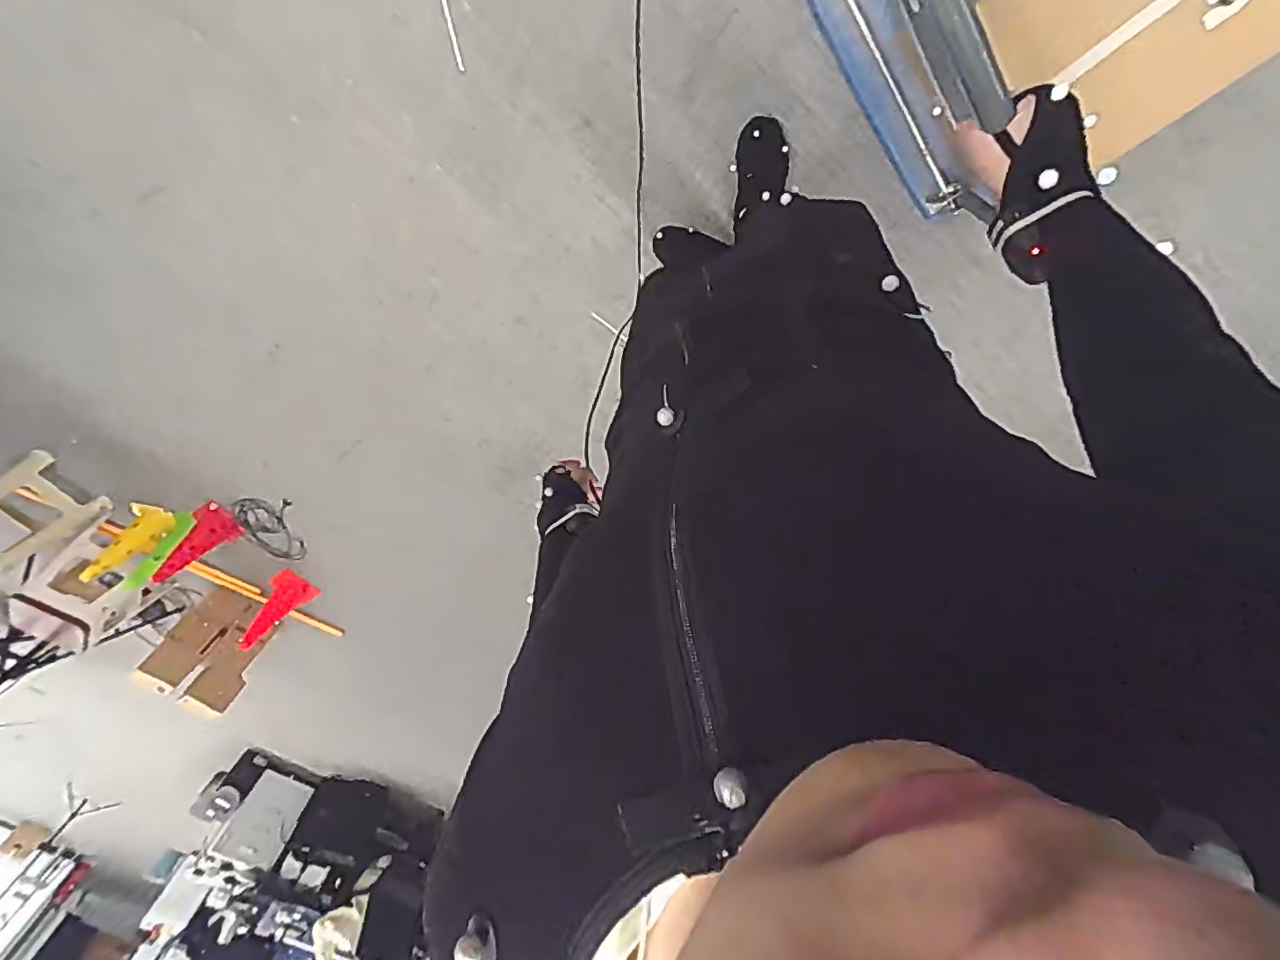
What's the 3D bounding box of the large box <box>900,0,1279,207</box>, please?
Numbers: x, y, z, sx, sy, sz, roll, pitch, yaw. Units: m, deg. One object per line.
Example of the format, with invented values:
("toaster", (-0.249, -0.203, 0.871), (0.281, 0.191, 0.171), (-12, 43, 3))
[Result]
("large box", (0.700, -0.720, 0.841), (0.408, 0.320, 0.320), (-33, 116, 29))
